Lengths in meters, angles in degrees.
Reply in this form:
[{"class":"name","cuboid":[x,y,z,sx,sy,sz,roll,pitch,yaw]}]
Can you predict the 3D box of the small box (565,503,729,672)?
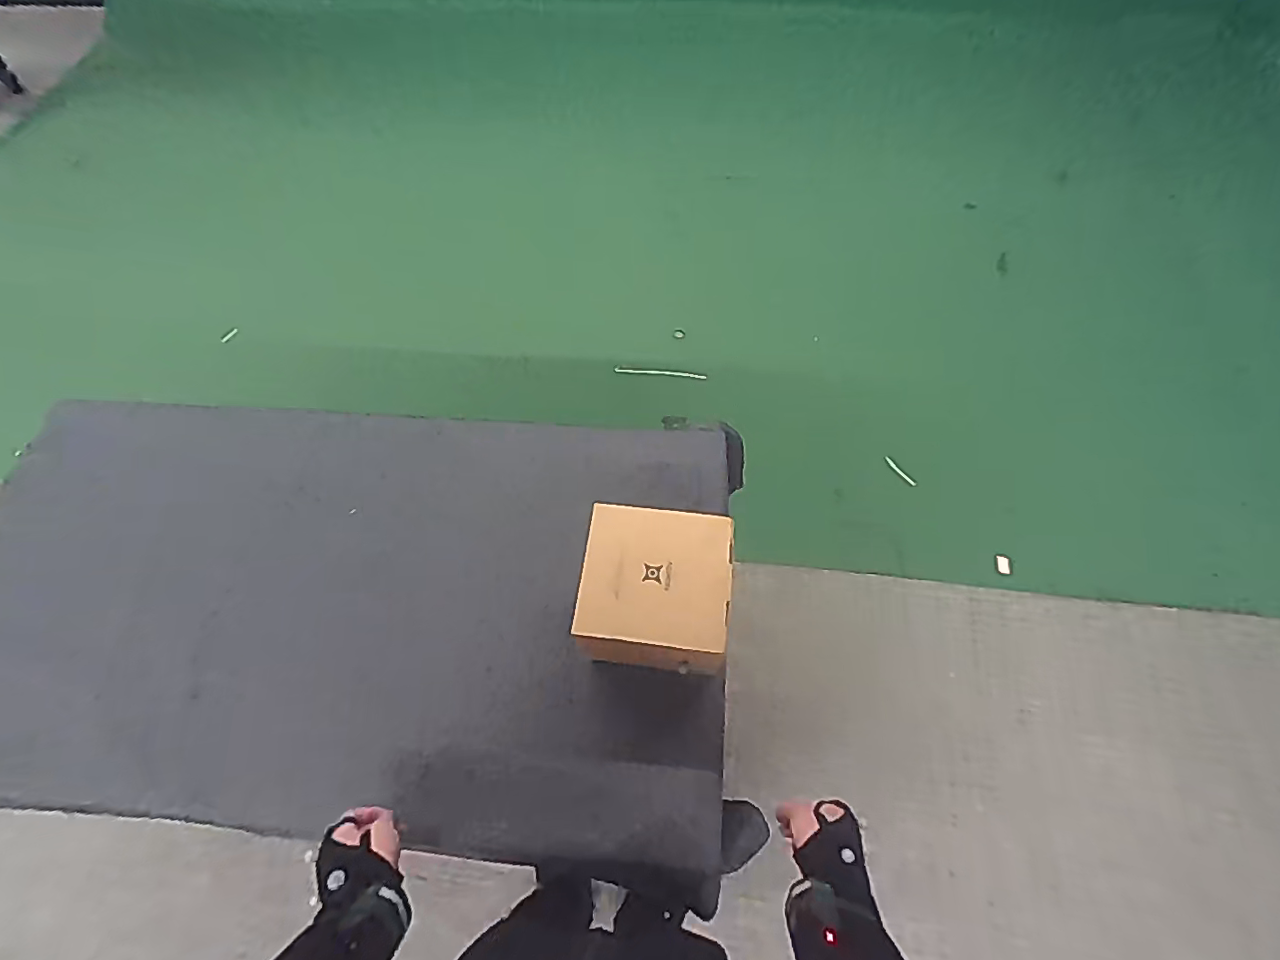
[{"class":"small box","cuboid":[0.016,0.145,0.699,0.179,0.176,0.168,5,63,6]}]
